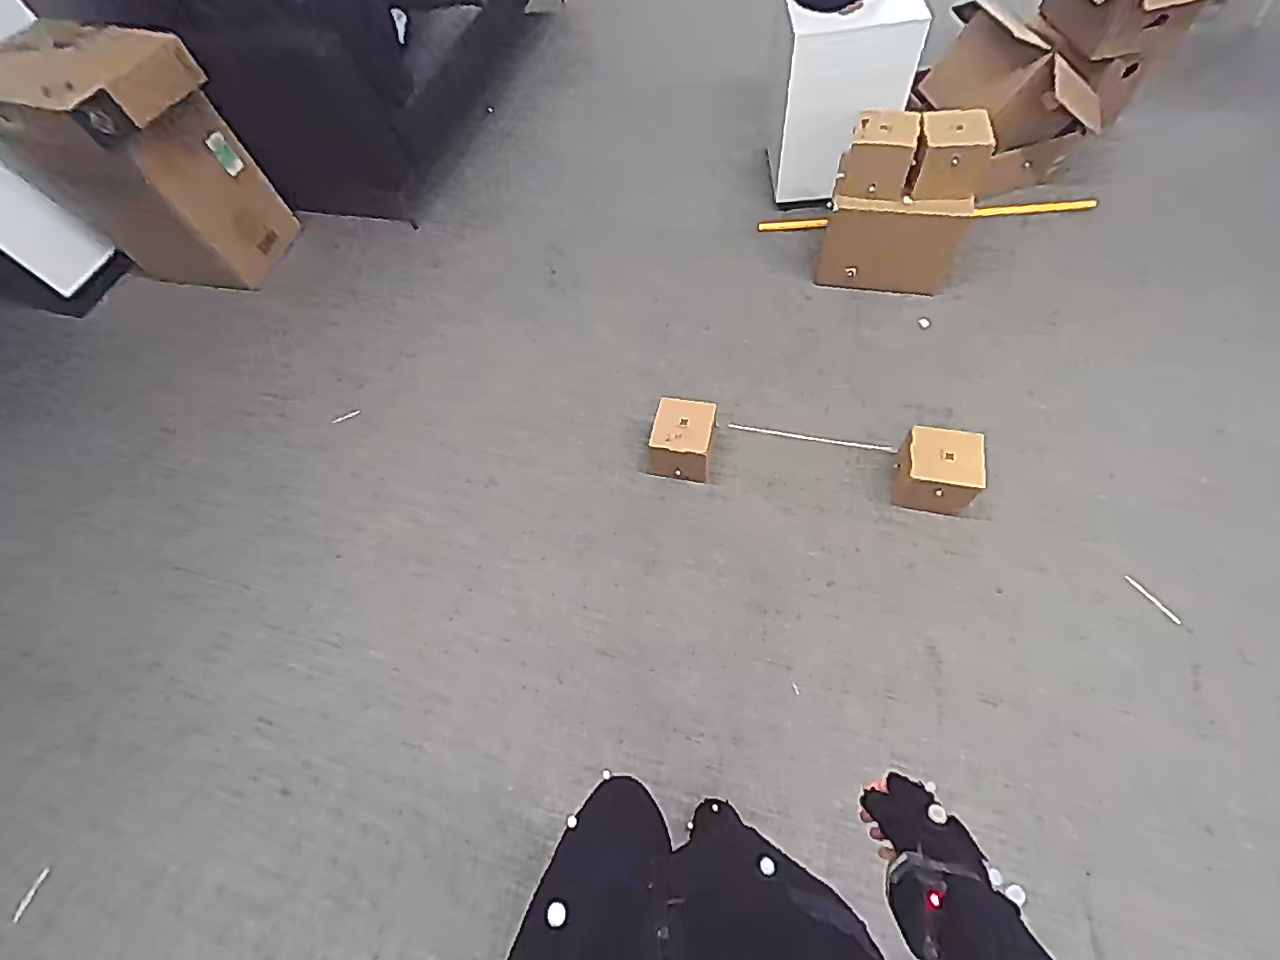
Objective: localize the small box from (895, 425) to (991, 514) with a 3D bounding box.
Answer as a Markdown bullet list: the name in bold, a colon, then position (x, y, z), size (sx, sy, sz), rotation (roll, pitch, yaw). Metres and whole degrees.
- **small box**: position (0.802, -0.023, 1.440), size (0.179, 0.176, 0.168), rotation (9, 64, 13)

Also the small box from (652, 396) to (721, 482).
- **small box**: position (0.138, -0.118, 1.580), size (0.168, 0.176, 0.179), rotation (9, 64, 13)
